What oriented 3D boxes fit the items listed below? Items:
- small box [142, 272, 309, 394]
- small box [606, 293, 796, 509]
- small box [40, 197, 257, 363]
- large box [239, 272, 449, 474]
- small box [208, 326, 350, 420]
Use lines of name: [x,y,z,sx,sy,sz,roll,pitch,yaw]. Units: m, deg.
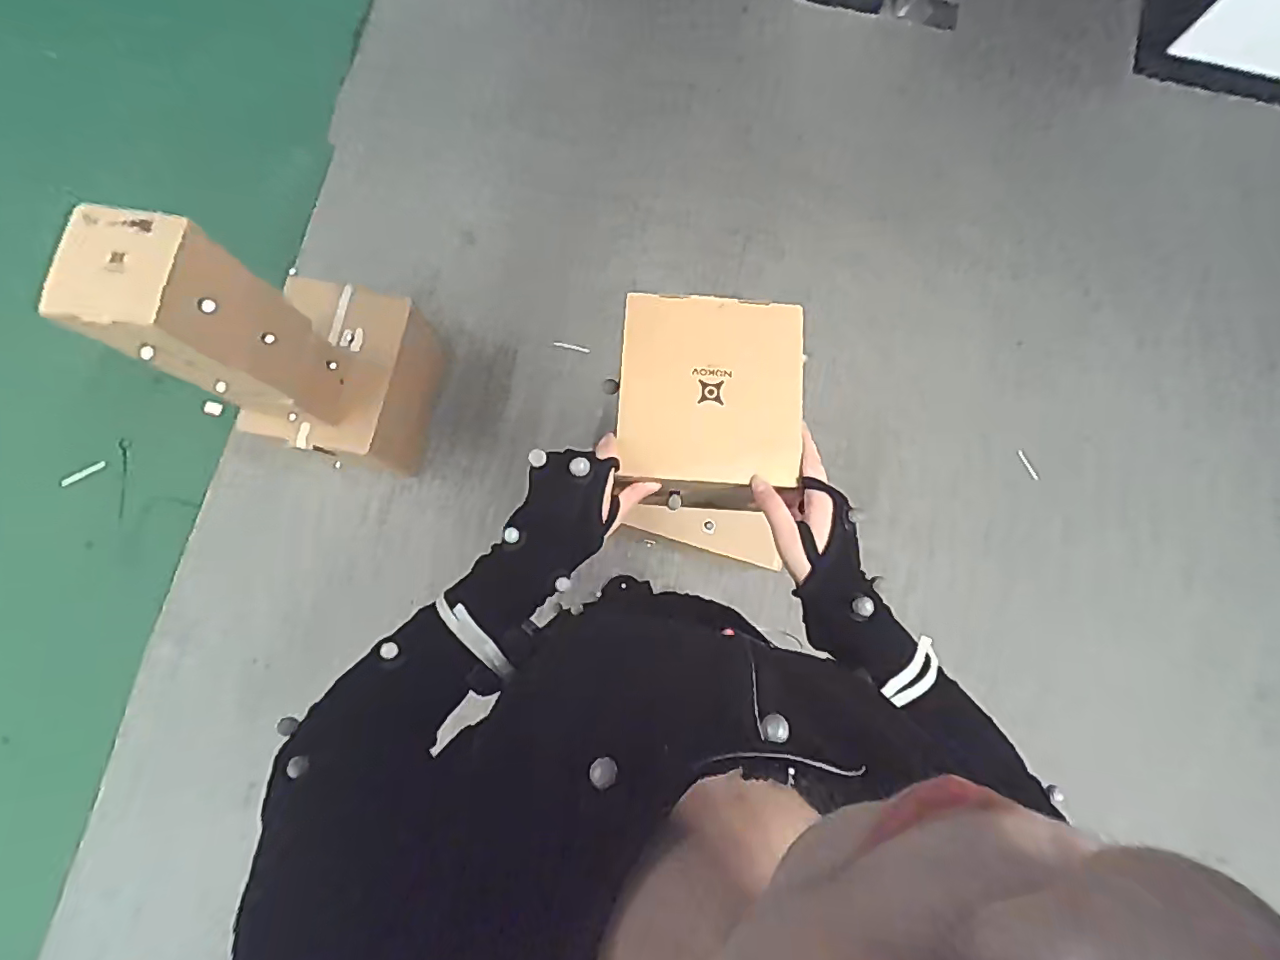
small box: [-0.755,-0.273,1.008,0.168,0.176,0.179,7,79,-2]
small box: [0.056,-0.067,0.561,0.168,0.176,0.179,3,78,-1]
small box: [-0.747,-0.301,0.846,0.168,0.176,0.179,8,80,-1]
large box: [-0.743,-0.259,1.420,0.320,0.320,0.408,12,79,-1]
small box: [-0.764,-0.237,1.168,0.179,0.176,0.168,10,79,0]
